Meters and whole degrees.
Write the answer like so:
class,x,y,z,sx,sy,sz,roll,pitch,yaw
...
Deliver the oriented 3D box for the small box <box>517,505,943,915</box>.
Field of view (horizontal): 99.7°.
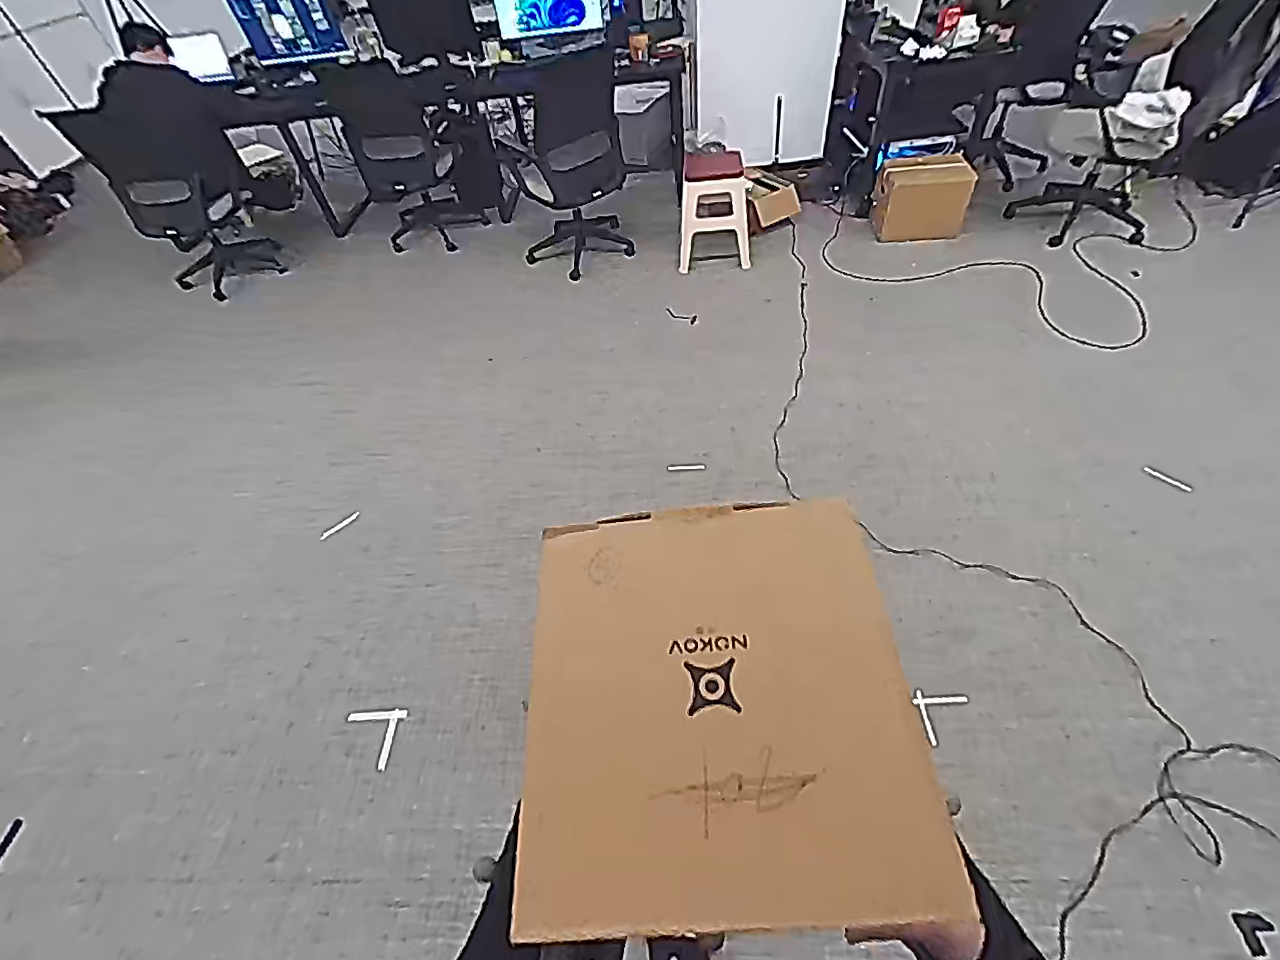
class,x,y,z,sx,sy,sz,roll,pitch,yaw
small box,0.039,0.137,0.319,0.168,0.176,0.179,-7,55,5
